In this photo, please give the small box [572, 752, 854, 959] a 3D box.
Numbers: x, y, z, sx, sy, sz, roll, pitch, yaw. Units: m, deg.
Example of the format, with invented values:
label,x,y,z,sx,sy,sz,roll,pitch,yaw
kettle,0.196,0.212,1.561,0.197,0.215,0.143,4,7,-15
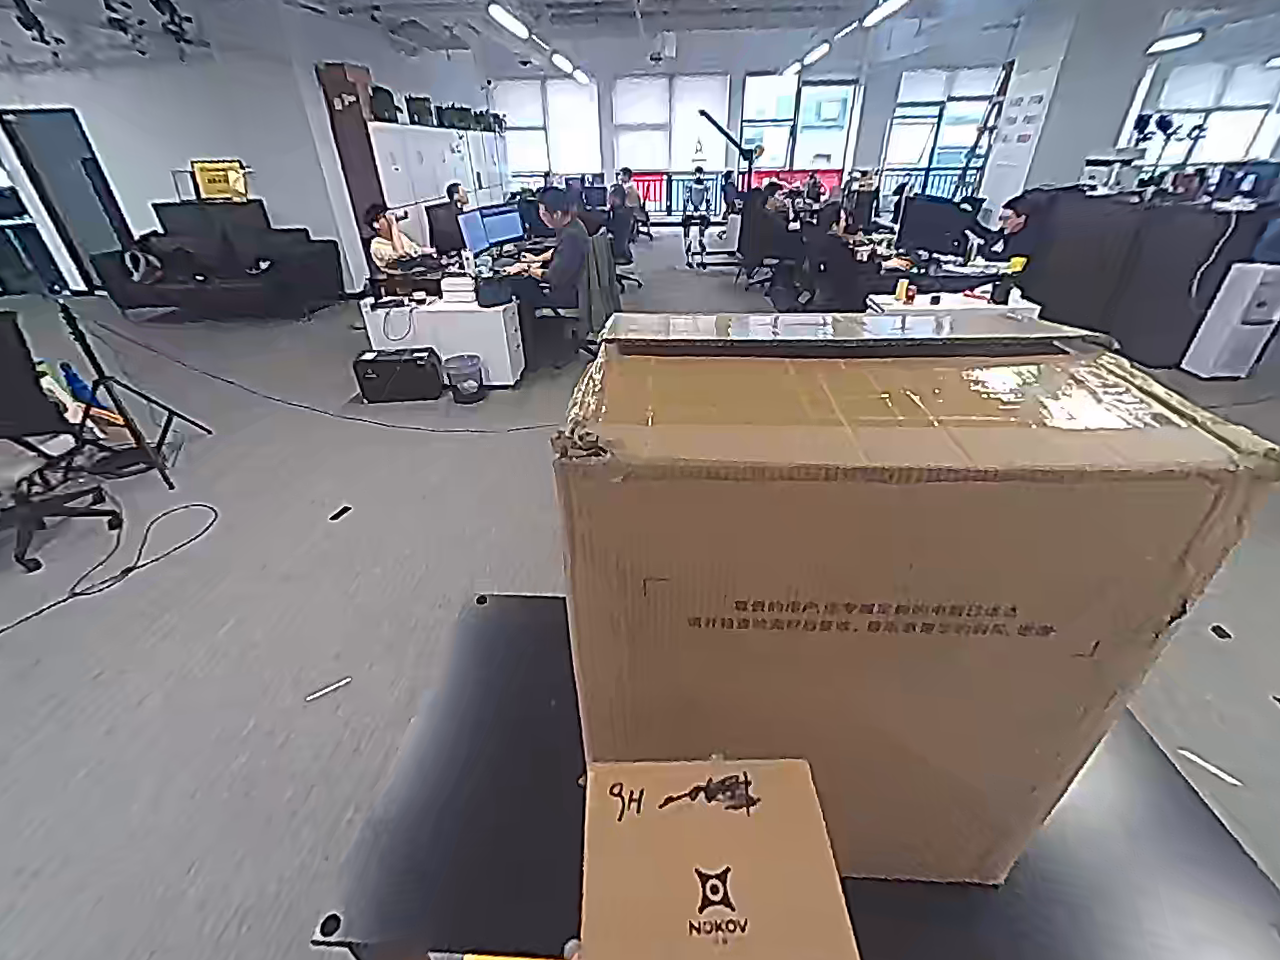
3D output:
label,x,y,z,sx,sy,sz,roll,pitch,yaw
small box,0.040,0.316,0.384,0.168,0.176,0.179,0,42,-3
